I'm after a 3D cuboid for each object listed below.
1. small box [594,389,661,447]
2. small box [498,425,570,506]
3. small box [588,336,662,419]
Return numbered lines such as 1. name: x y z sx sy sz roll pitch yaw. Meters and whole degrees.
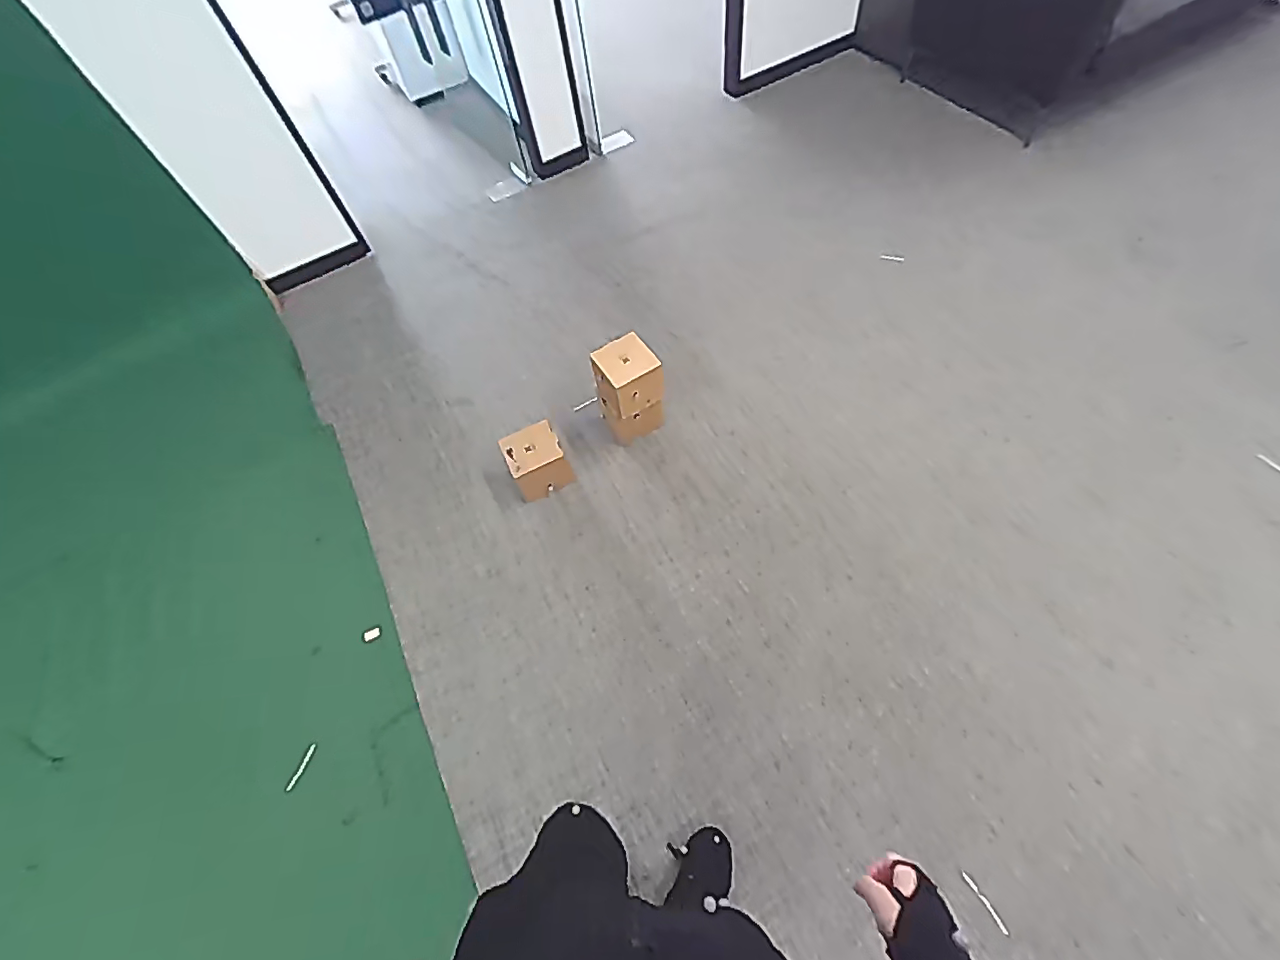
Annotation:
1. small box: -0.038 -0.245 1.878 0.179 0.176 0.168 -27 60 -10
2. small box: -0.344 -0.045 1.800 0.179 0.176 0.168 -26 60 -9
3. small box: -0.043 -0.318 1.733 0.168 0.176 0.179 -31 61 -11
